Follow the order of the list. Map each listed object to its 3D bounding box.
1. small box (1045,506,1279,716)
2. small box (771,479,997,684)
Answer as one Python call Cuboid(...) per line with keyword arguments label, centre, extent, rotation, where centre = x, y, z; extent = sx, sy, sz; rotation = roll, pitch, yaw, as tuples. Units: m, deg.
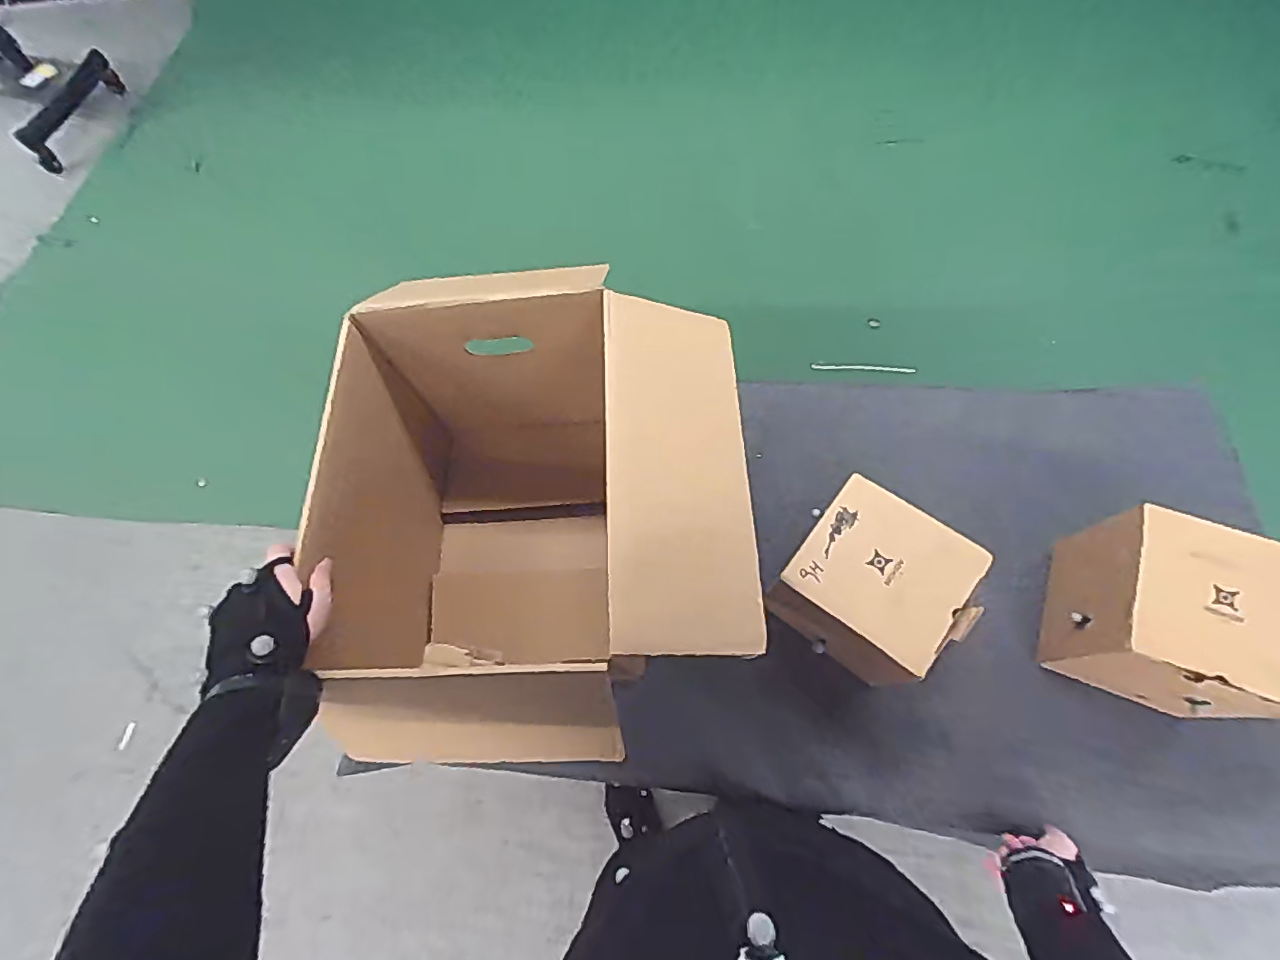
Cuboid(label="small box", centre=(0.615, 0.161, 0.632), extent=(0.168, 0.176, 0.179), rotation=(20, 69, 13))
Cuboid(label="small box", centre=(0.288, 0.134, 0.680), extent=(0.179, 0.176, 0.168), rotation=(36, 74, 18))
